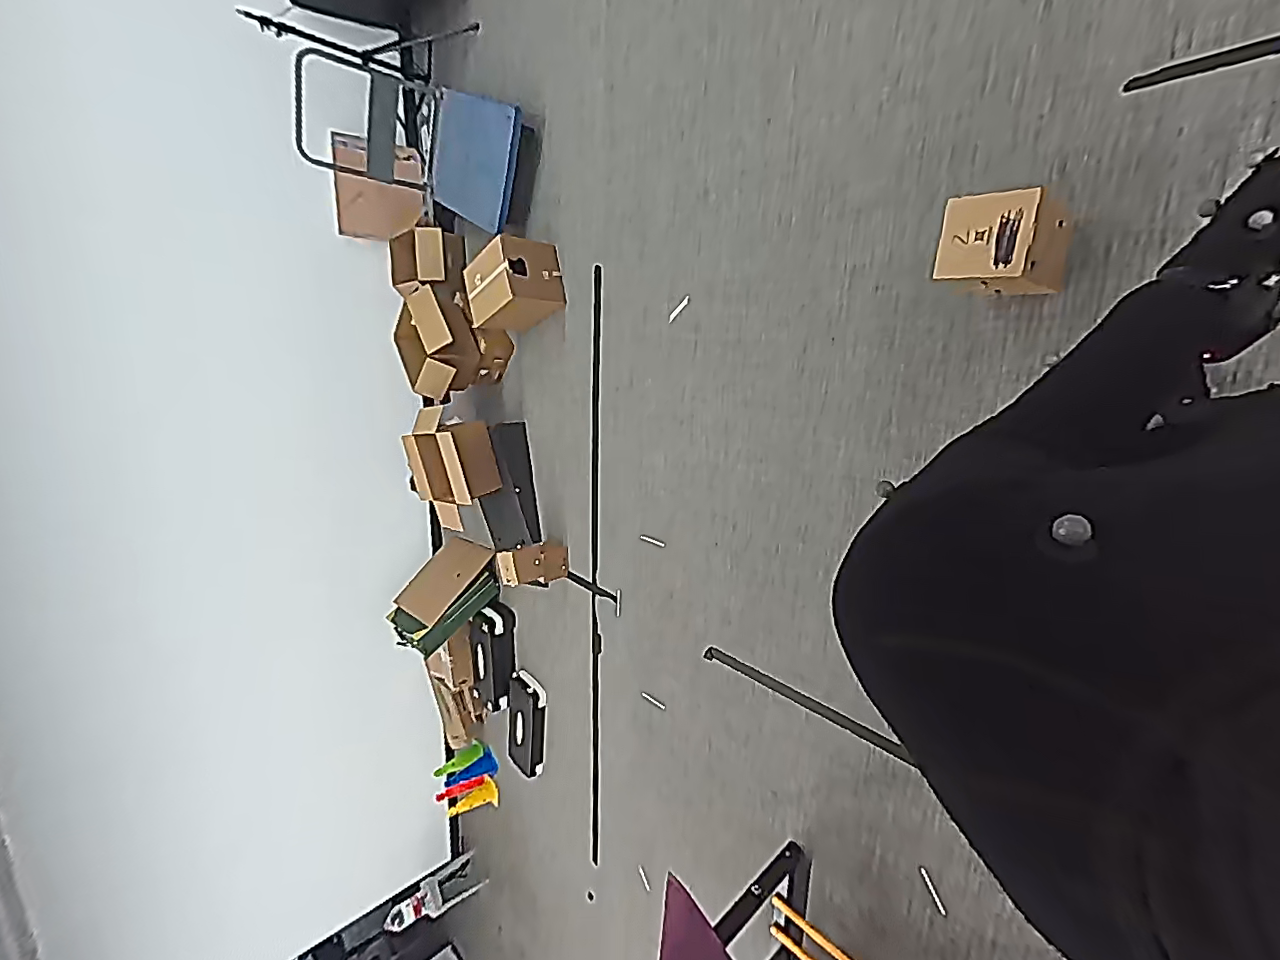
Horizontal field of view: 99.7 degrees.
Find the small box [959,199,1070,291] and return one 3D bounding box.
[{"bbox_3d":[0.889,-0.546,1.281,0.168,0.176,0.179,17,110,45],"label":"small box"}]
